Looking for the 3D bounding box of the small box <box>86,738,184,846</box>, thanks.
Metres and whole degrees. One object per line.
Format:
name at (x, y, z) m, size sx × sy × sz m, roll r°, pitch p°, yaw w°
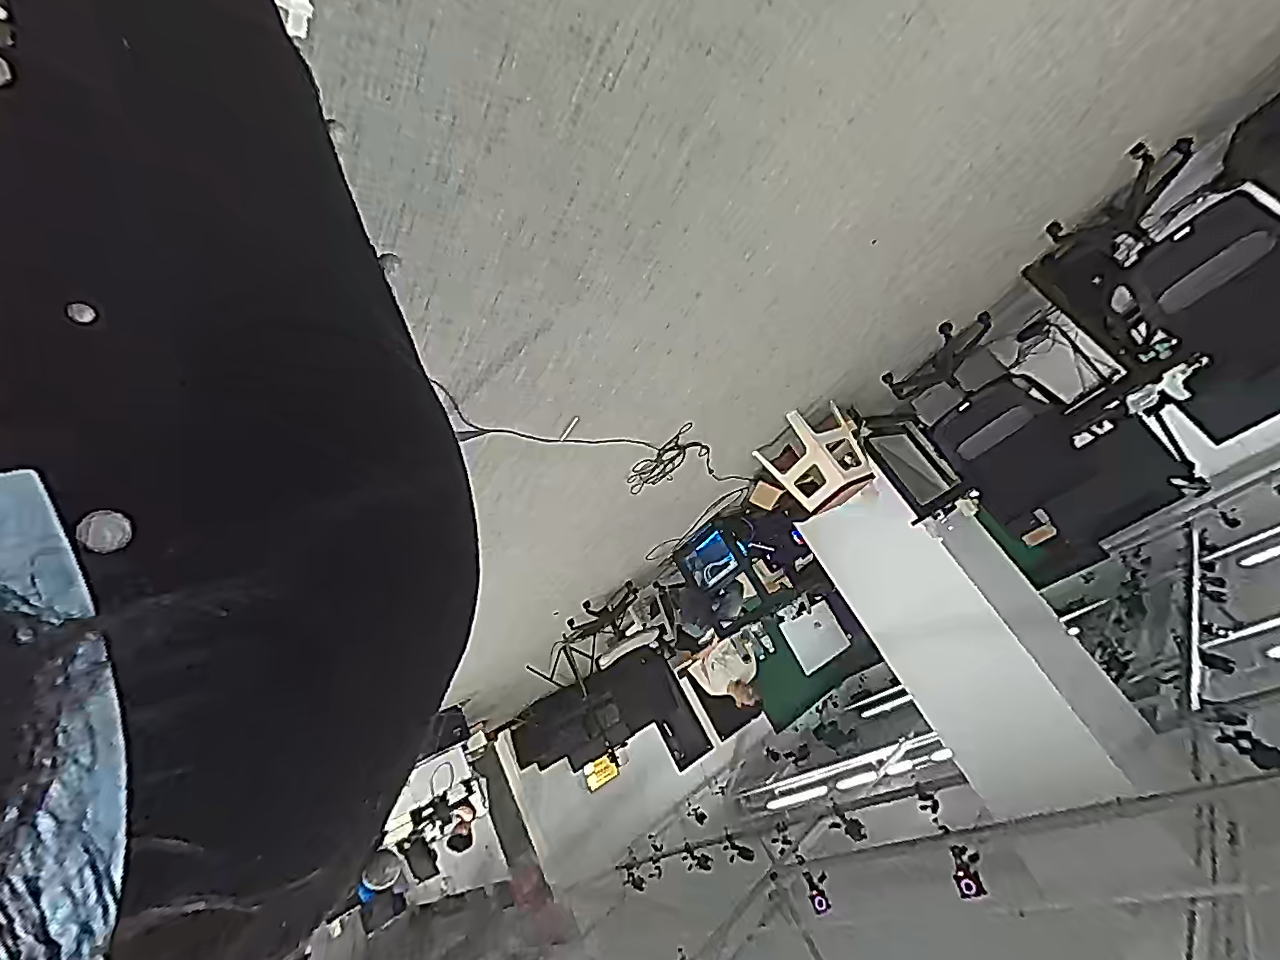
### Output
small box at (-1.286, 0.789, 1.380) m, size 0.168 × 0.176 × 0.179 m, roll -9°, pitch 149°, yaw -45°
